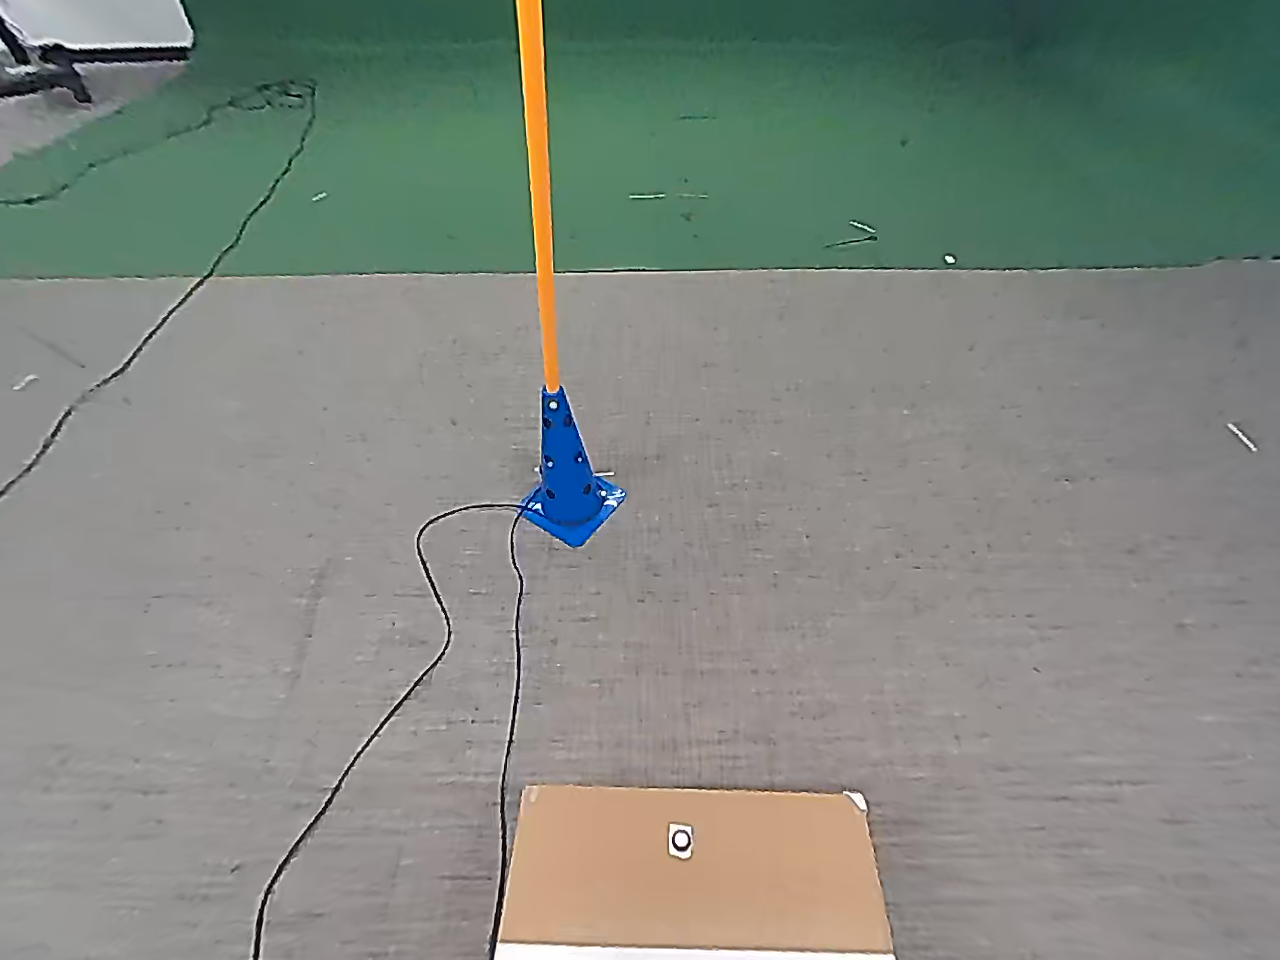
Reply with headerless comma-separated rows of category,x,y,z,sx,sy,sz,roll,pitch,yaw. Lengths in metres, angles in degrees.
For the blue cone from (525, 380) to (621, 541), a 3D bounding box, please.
blue cone,-0.160,-0.060,1.170,0.192,0.380,0.193,26,53,20
